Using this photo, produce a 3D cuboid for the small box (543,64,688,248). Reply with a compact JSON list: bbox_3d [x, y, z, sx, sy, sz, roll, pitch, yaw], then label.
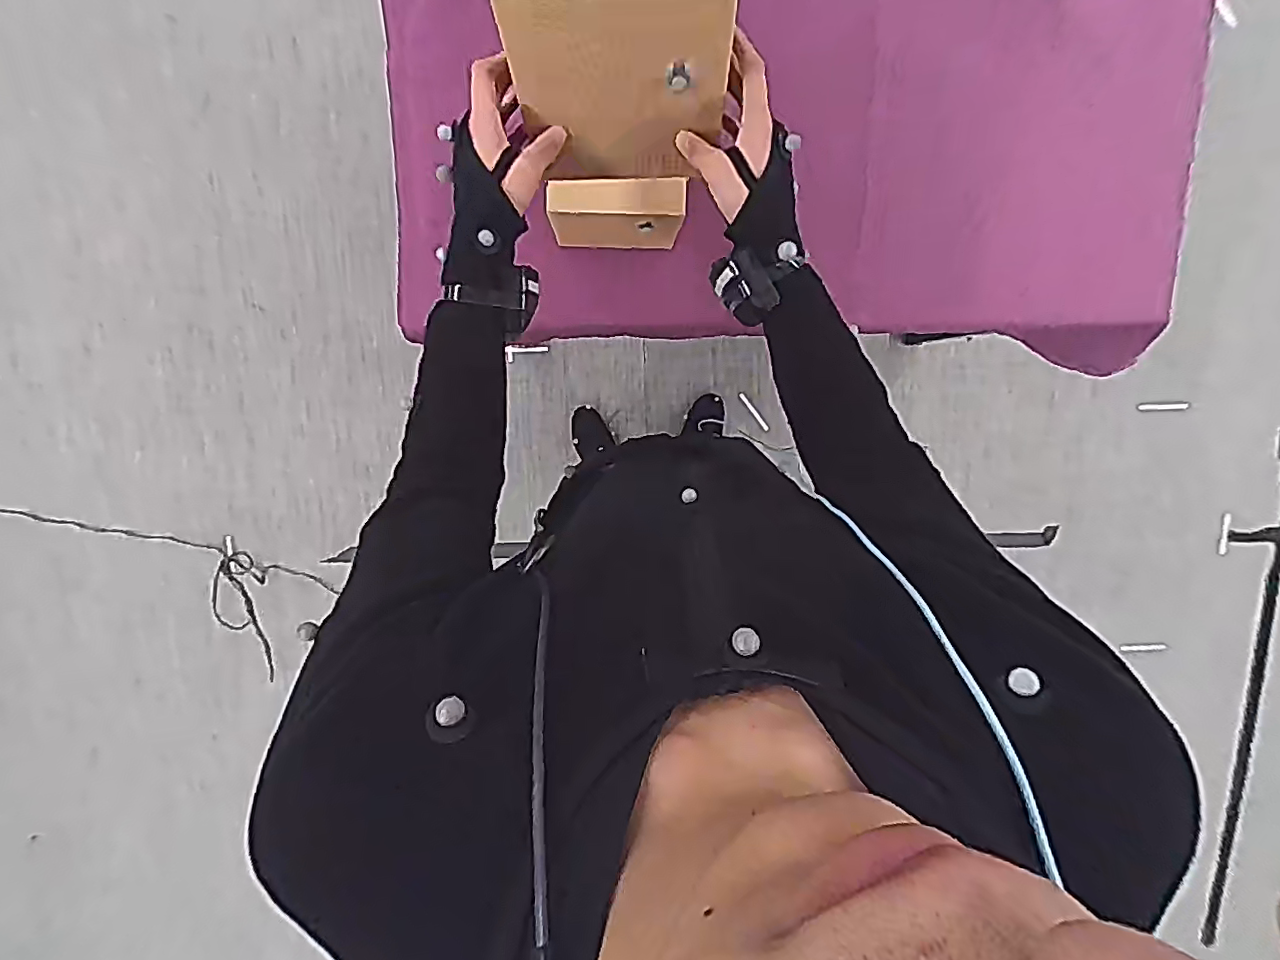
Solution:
[{"bbox_3d":[-0.035,-0.423,0.735,0.179,0.176,0.168,0,99,-3],"label":"small box"}]
